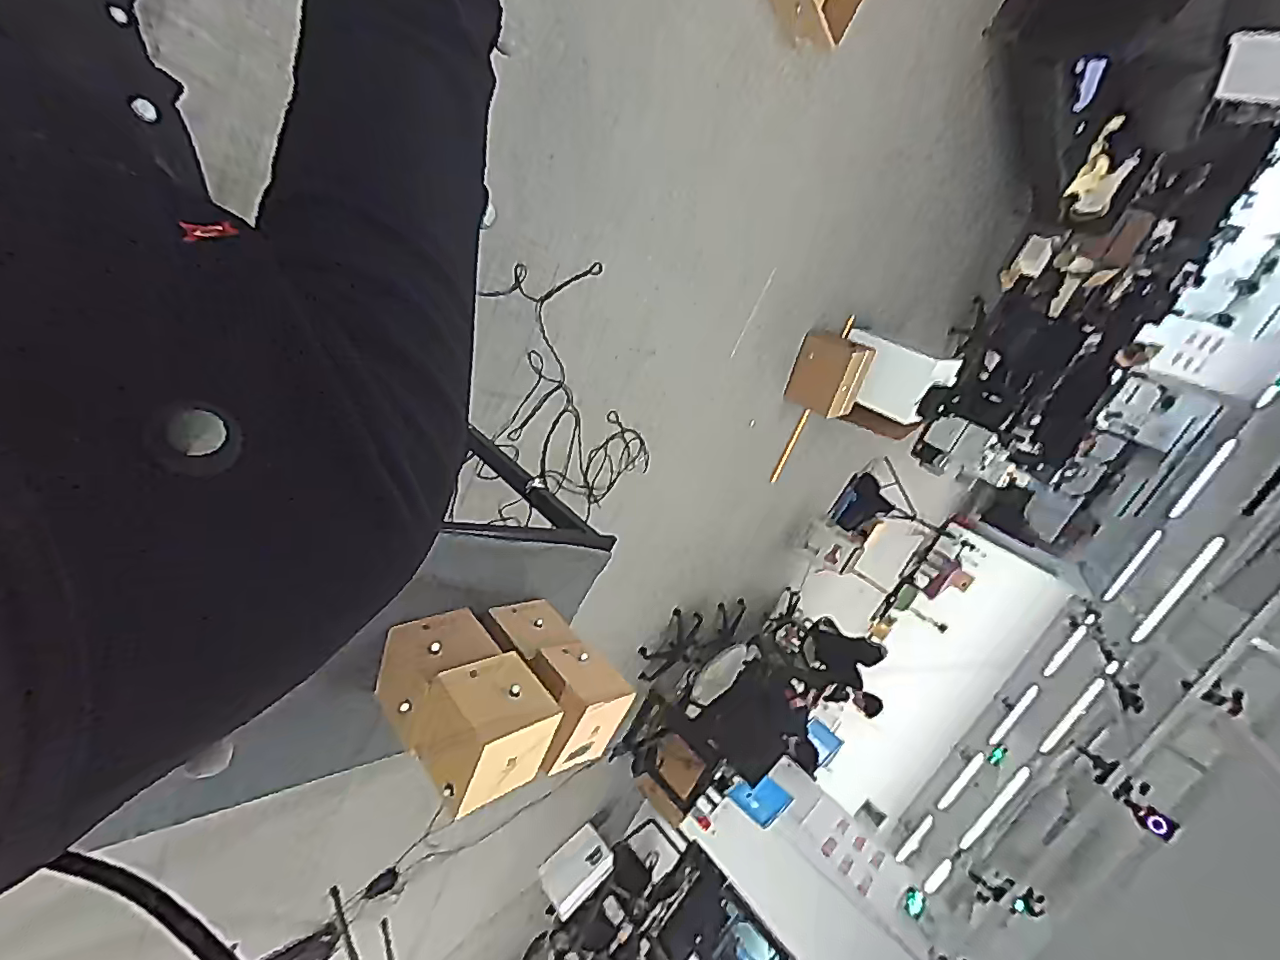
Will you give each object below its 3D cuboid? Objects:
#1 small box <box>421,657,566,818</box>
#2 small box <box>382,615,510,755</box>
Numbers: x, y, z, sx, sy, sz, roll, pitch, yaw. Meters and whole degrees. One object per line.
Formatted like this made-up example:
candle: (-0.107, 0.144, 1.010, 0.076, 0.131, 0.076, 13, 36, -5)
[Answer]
small box: (-0.266, 0.440, 0.964, 0.168, 0.176, 0.179, -1, 120, -49)
small box: (-0.385, 0.386, 1.063, 0.168, 0.176, 0.179, -4, 123, -48)
